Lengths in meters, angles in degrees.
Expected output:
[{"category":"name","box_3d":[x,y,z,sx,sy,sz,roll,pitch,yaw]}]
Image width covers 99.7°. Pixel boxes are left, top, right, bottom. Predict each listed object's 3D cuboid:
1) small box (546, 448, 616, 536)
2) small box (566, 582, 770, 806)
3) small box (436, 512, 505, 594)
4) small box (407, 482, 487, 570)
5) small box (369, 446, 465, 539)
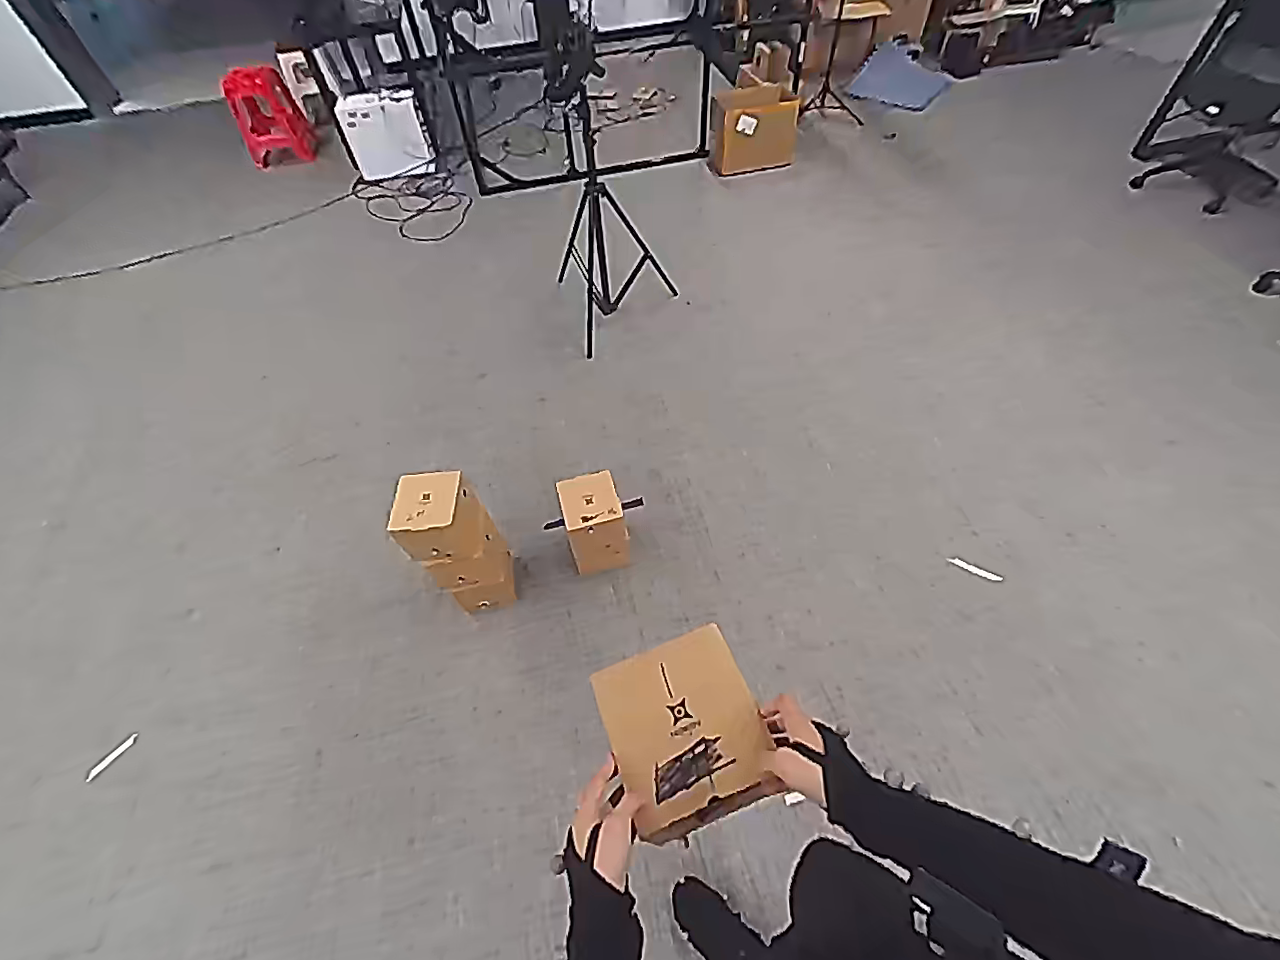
[{"category":"small box","box_3d":[-0.171,0.038,1.585,0.168,0.176,0.179,-14,55,-7]},{"category":"small box","box_3d":[0.034,0.252,0.621,0.168,0.176,0.179,-22,54,-6]},{"category":"small box","box_3d":[-0.524,0.227,1.673,0.168,0.176,0.179,-12,55,-5]},{"category":"small box","box_3d":[-0.543,0.133,1.543,0.168,0.176,0.179,-10,55,-2]},{"category":"small box","box_3d":[-0.571,0.034,1.412,0.168,0.176,0.179,-5,55,1]}]
